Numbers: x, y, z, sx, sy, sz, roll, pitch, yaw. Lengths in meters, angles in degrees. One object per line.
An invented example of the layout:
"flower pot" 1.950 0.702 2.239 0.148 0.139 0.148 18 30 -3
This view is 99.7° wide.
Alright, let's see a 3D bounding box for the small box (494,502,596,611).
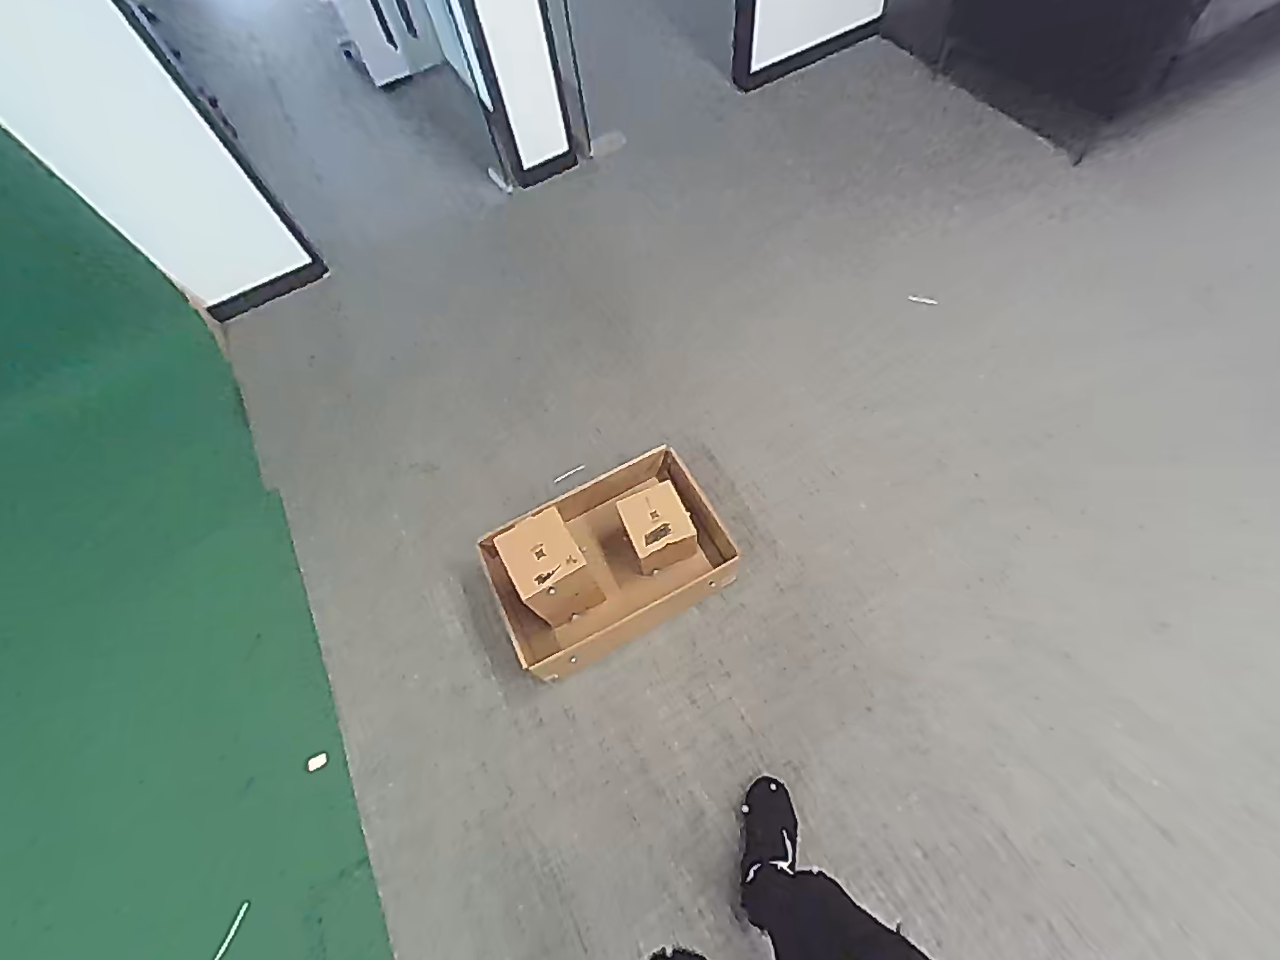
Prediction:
"small box" -0.224 0.190 1.307 0.168 0.176 0.179 -29 64 -9
